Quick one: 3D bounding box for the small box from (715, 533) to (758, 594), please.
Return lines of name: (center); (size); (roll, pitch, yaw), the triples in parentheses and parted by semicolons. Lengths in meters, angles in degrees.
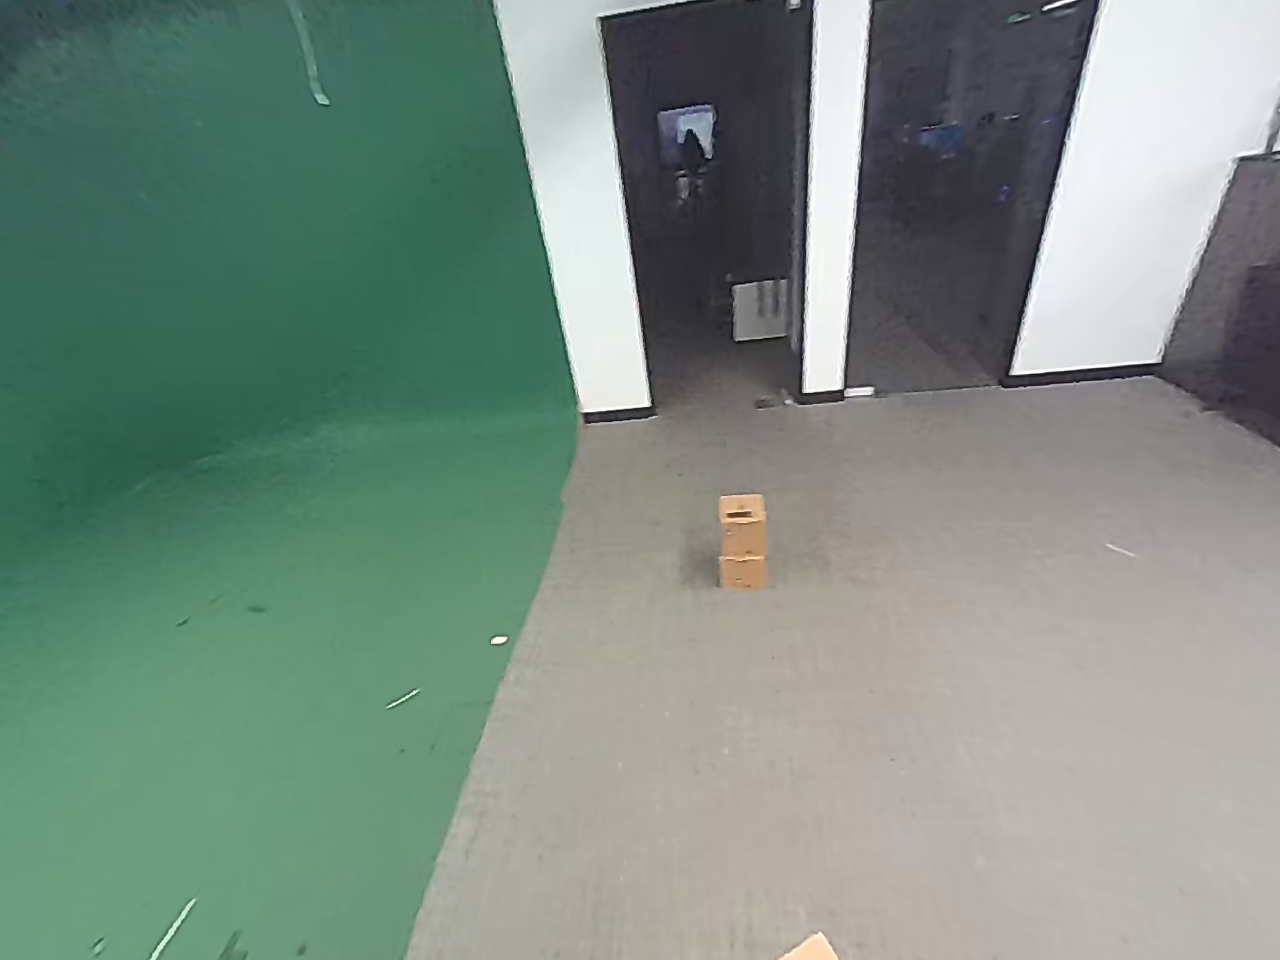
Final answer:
small box: (0.390, 0.333, 2.175); (0.168, 0.176, 0.179); (0, 33, 12)
